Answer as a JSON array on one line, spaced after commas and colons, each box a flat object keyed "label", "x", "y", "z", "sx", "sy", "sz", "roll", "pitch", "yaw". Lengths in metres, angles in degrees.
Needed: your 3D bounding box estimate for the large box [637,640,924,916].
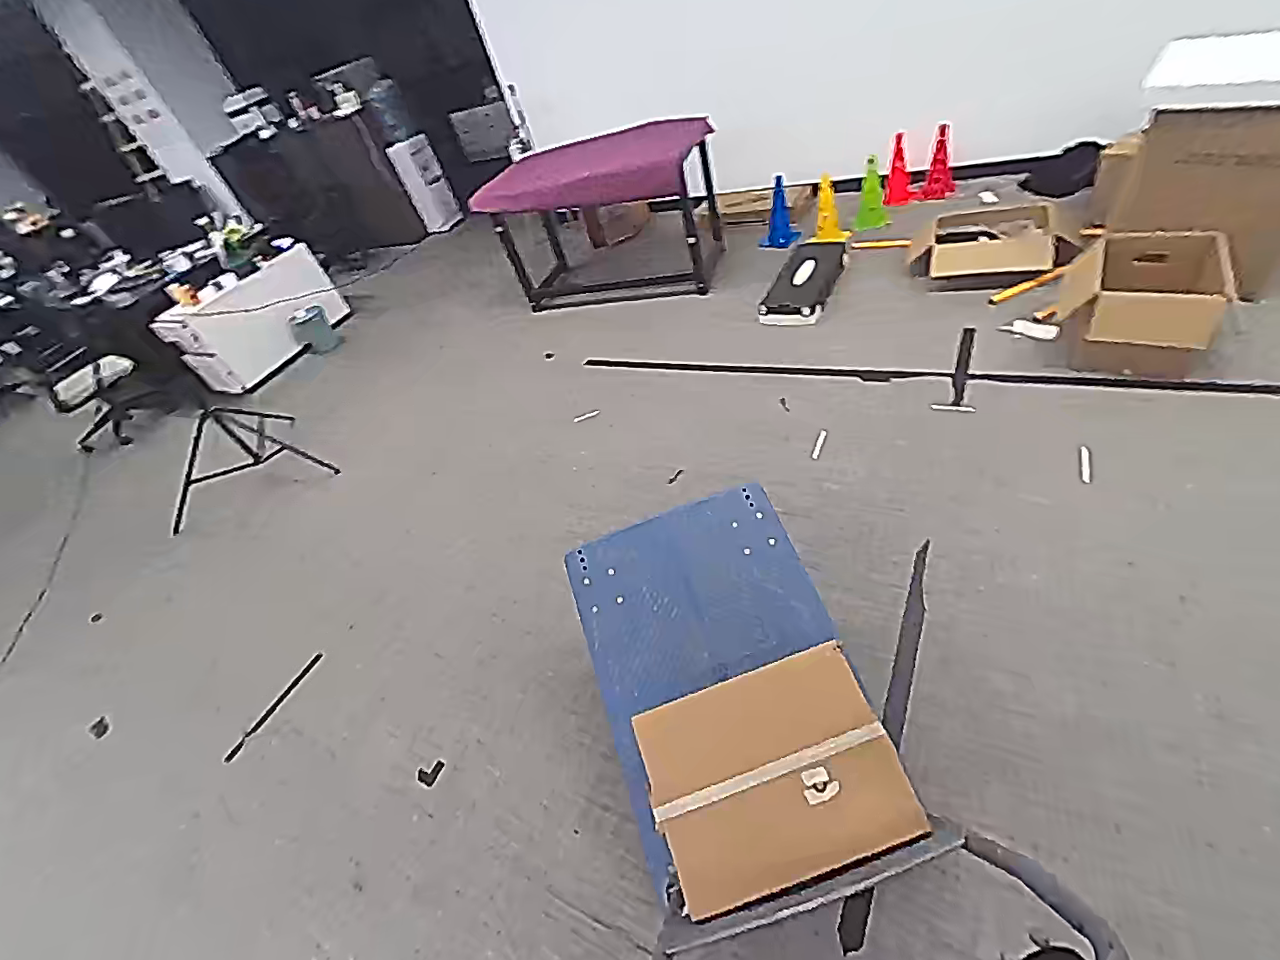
[{"label": "large box", "x": 0.247, "y": 0.563, "z": 1.060, "sx": 0.408, "sy": 0.320, "sz": 0.320, "roll": -21, "pitch": 62, "yaw": -2}]
